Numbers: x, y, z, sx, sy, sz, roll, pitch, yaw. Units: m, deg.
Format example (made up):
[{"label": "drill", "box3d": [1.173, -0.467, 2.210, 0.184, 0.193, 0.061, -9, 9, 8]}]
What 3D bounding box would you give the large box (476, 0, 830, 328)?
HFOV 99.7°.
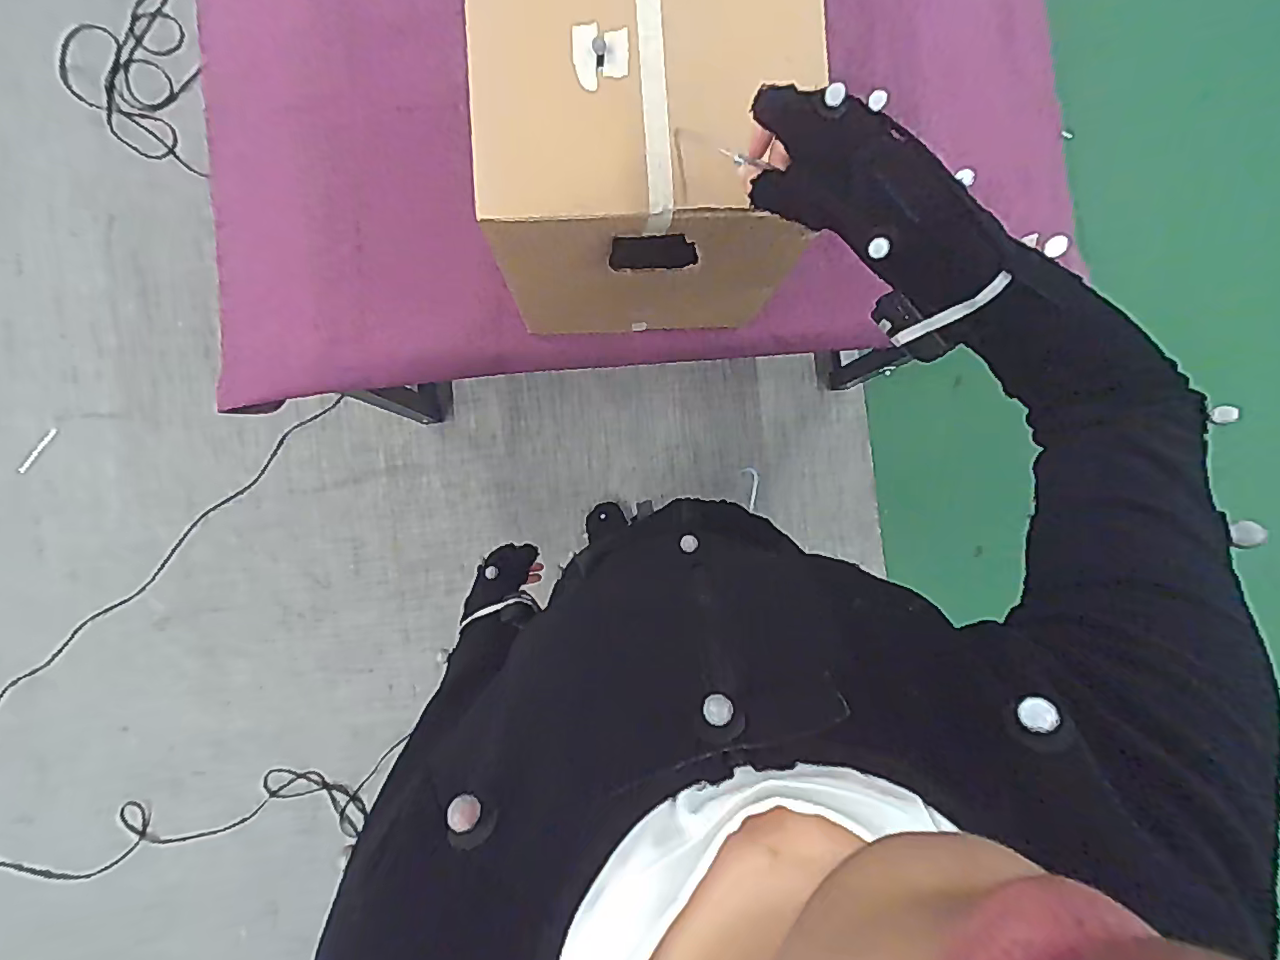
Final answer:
[{"label": "large box", "box3d": [-0.002, -0.423, 0.634, 0.320, 0.320, 0.408, -3, 89, -4]}]
